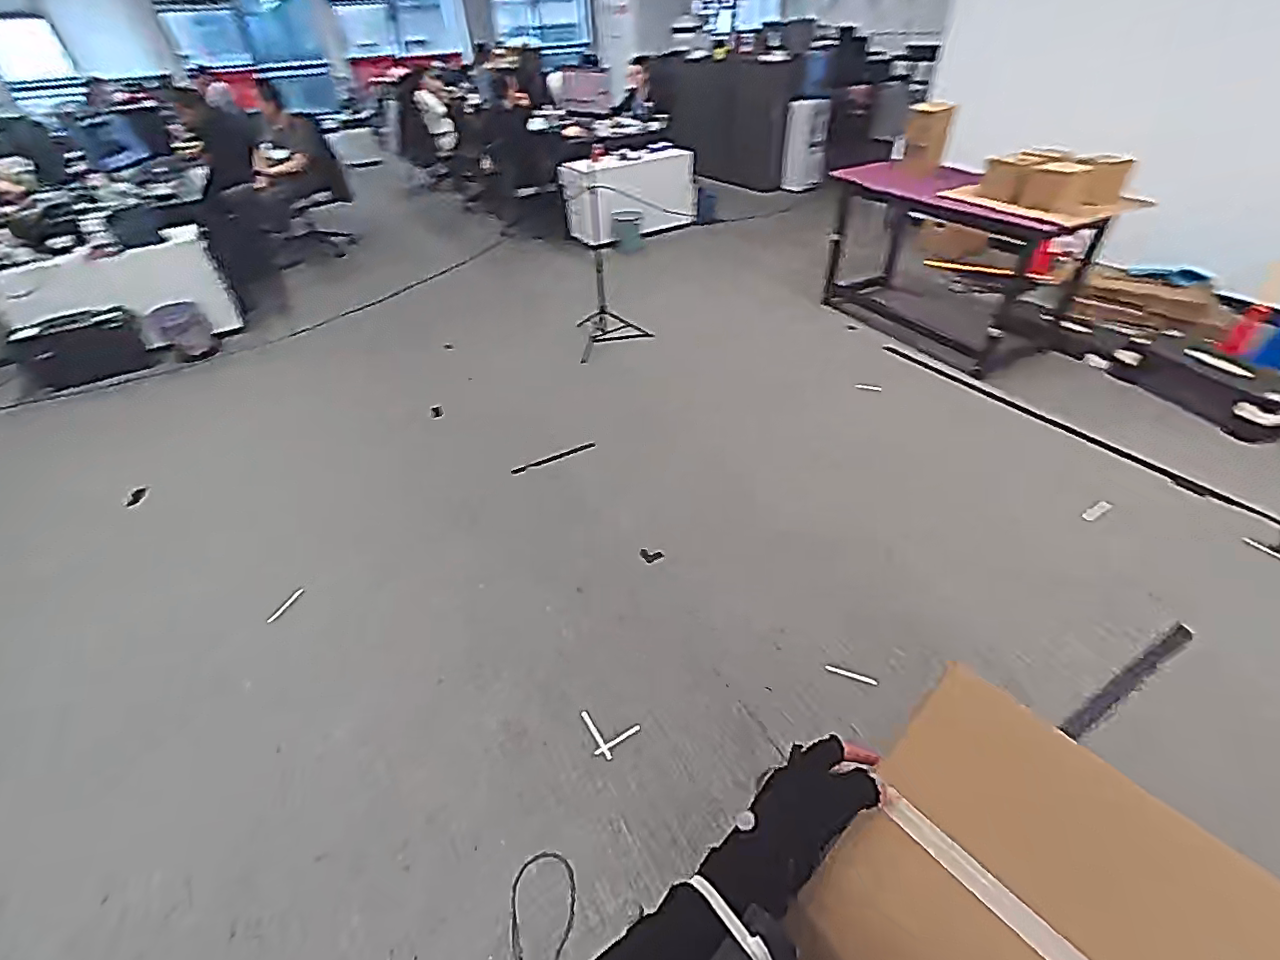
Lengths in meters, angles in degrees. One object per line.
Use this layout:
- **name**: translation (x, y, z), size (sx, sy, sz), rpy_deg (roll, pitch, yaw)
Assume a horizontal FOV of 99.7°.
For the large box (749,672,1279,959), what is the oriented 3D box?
- **large box**: translation (0.358, 0.473, 0.507), size (0.320, 0.320, 0.408), rpy_deg (-39, 56, -21)
